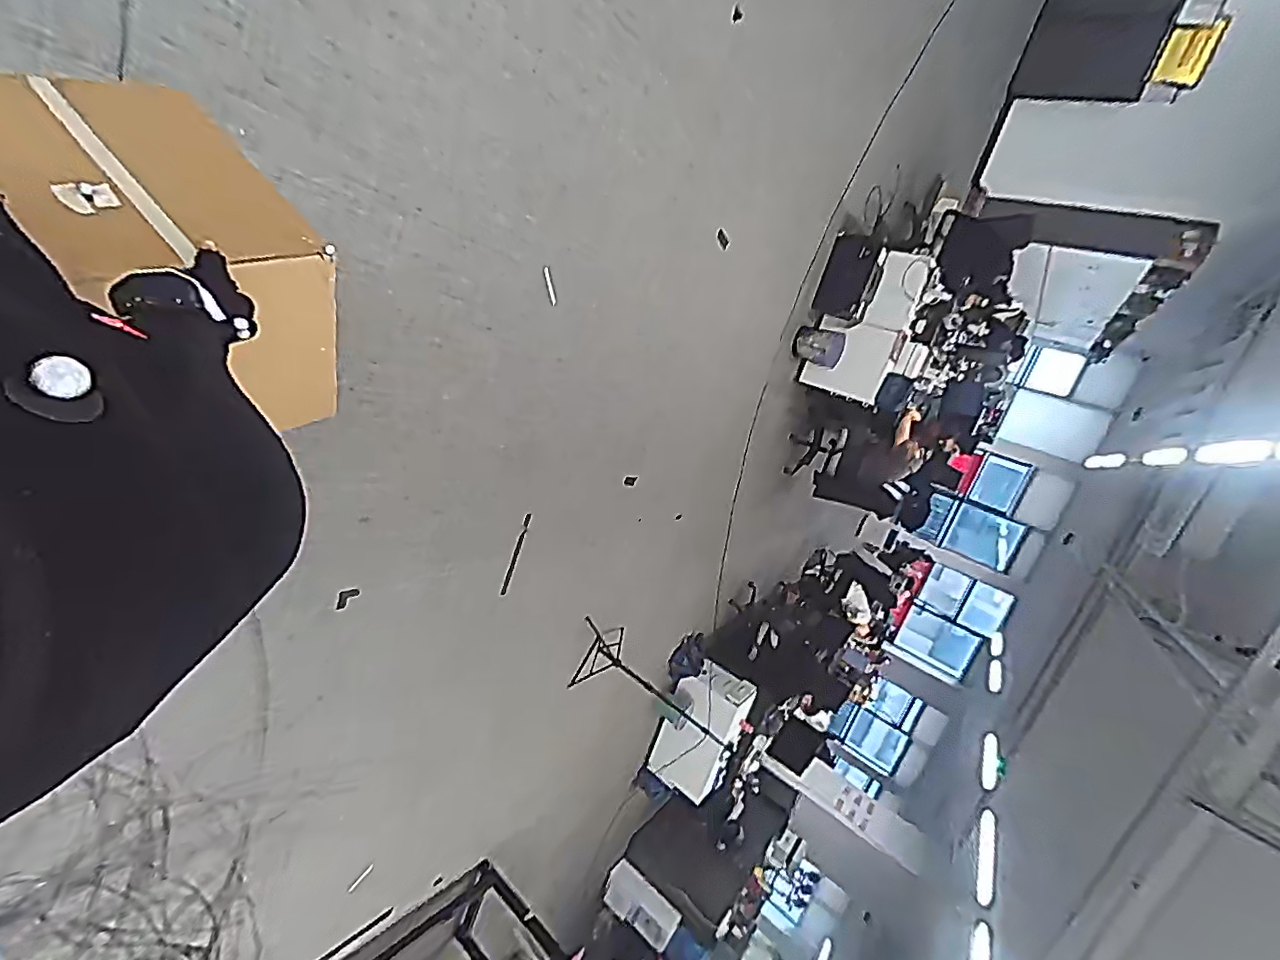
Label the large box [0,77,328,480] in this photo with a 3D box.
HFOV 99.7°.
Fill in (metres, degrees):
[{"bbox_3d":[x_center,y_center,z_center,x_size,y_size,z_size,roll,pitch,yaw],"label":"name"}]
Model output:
[{"bbox_3d":[-0.702,-0.280,0.754,0.320,0.408,0.320,-36,166,-42],"label":"large box"}]
